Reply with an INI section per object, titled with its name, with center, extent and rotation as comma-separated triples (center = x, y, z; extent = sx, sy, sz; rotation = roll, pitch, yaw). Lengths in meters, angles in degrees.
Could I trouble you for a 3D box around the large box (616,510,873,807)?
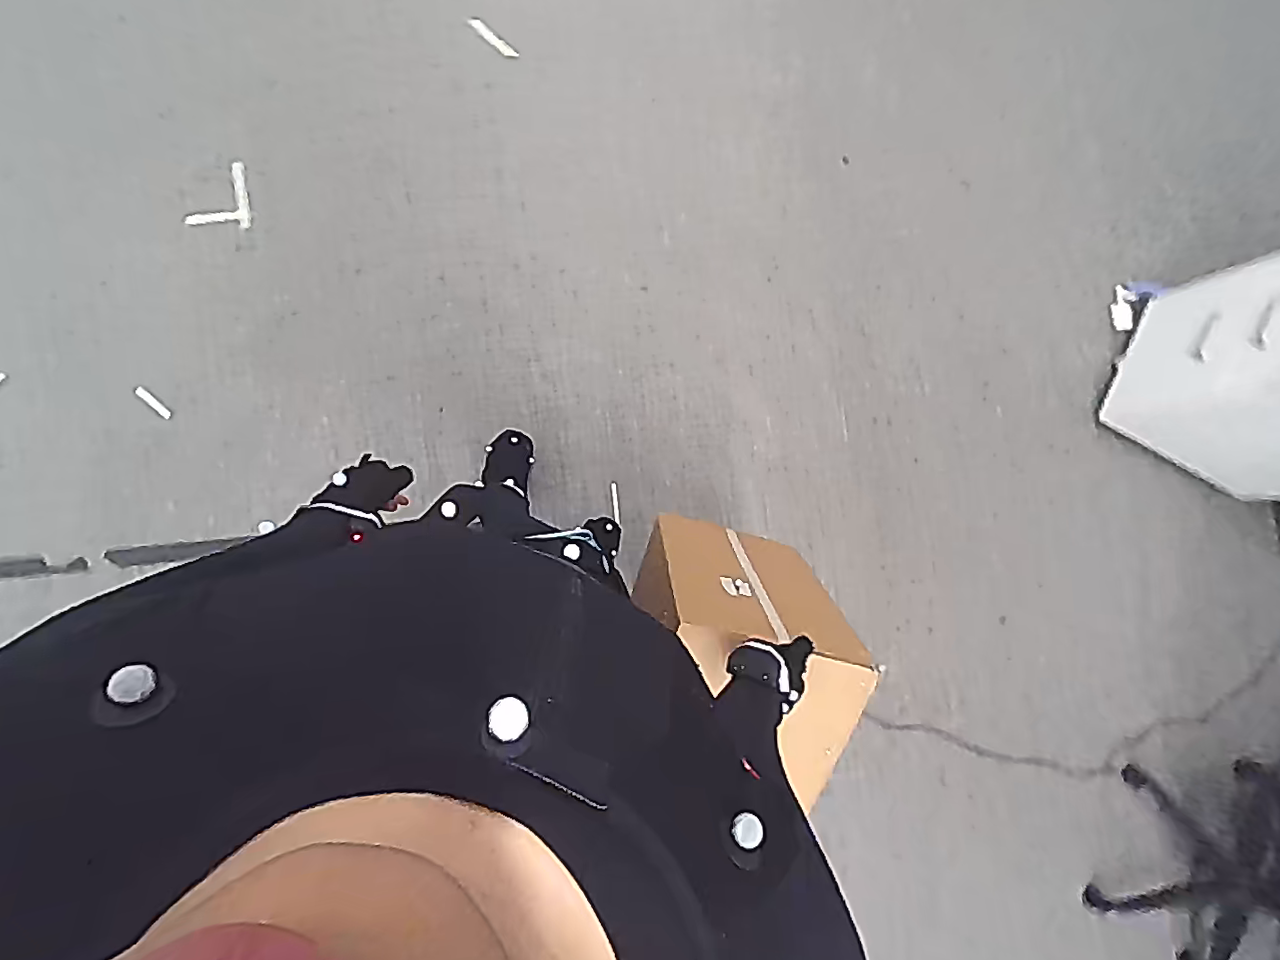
[large box]
center = 0.145, 0.302, 1.006
extent = 0.320, 0.408, 0.320
rotation = 13, 109, -8
